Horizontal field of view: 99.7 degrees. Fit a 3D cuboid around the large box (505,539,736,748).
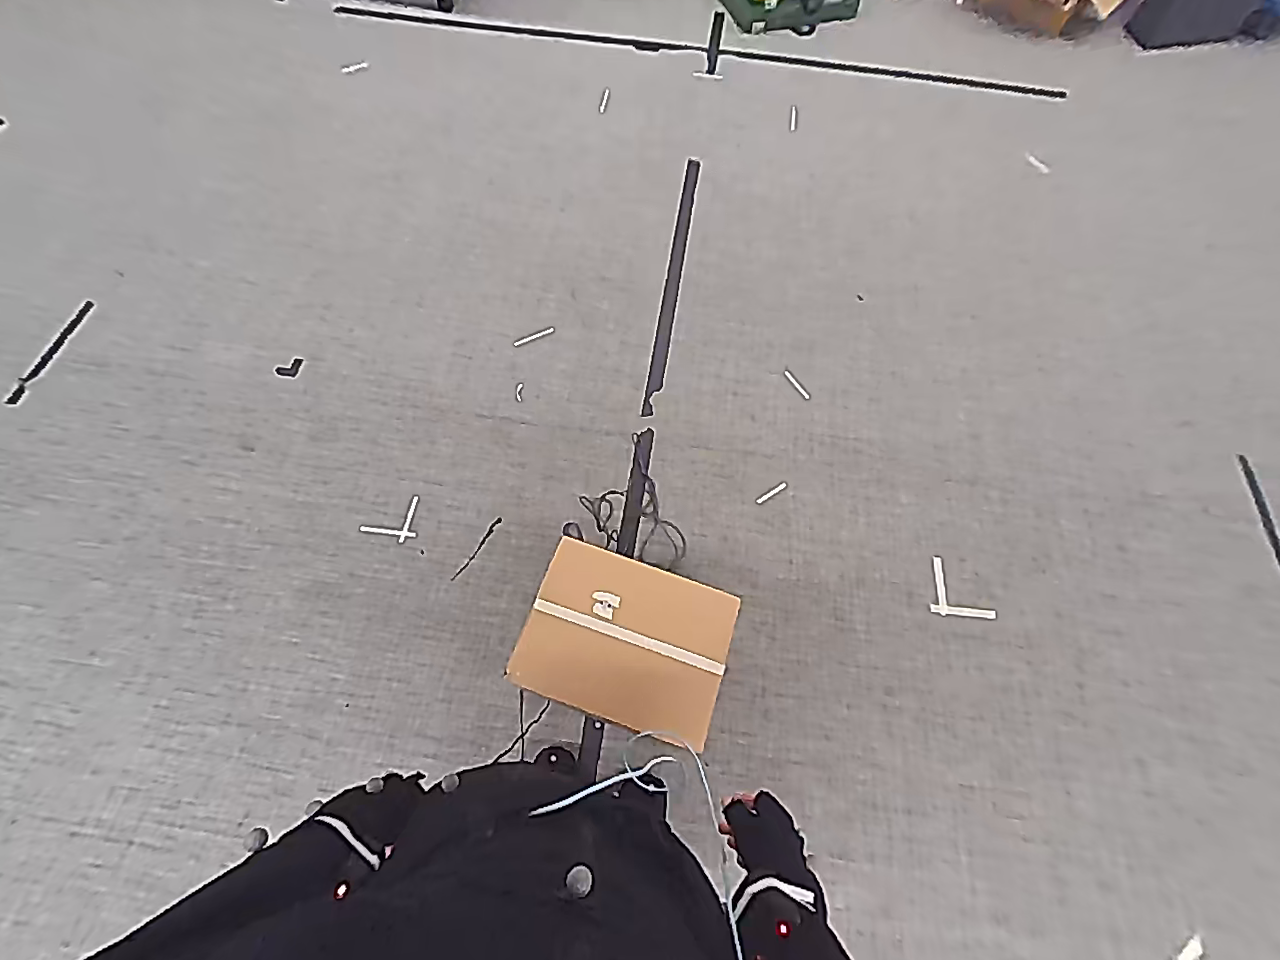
[{"bbox_3d":[-0.037,0.378,1.227,0.408,0.320,0.320,19,64,5],"label":"large box"}]
